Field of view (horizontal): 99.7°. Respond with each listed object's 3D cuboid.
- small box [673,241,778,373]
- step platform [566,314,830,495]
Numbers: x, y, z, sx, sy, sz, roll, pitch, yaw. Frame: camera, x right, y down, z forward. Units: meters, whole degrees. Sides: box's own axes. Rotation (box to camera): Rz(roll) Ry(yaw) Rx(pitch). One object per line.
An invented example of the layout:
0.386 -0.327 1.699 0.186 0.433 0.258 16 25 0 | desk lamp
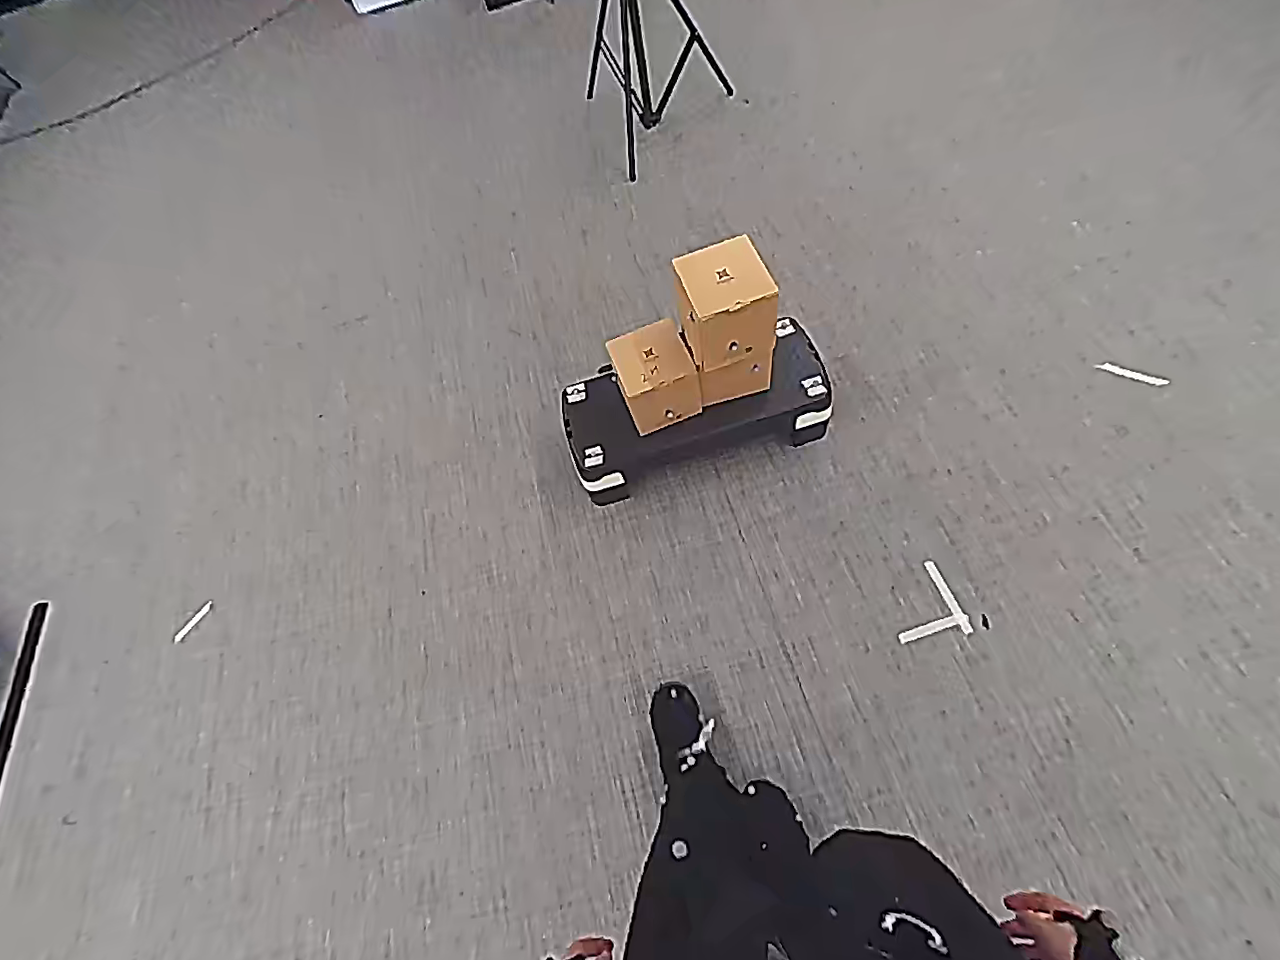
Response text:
0.177 -0.362 1.148 0.168 0.176 0.179 -19 63 0 | small box
0.146 -0.202 1.454 0.684 0.204 0.286 -18 62 2 | step platform
